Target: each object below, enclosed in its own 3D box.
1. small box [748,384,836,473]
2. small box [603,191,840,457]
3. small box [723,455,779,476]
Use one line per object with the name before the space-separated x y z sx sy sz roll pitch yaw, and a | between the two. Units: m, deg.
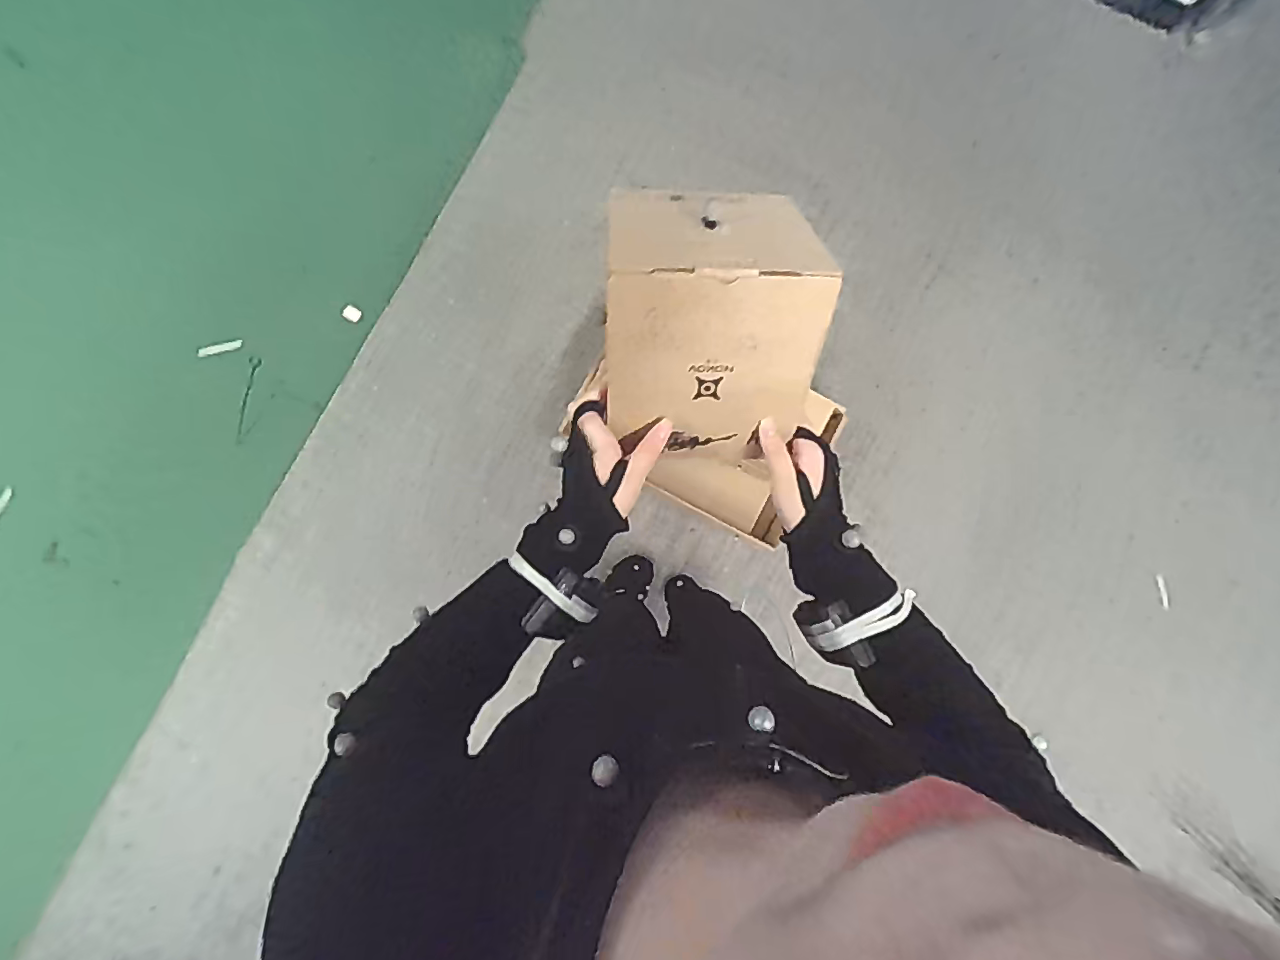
small box | 0.303 -0.127 1.212 0.168 0.176 0.179 29 88 1
small box | 0.051 -0.140 0.483 0.168 0.179 0.176 1 45 -4
small box | 0.302 -0.119 1.377 0.168 0.176 0.179 28 88 1
